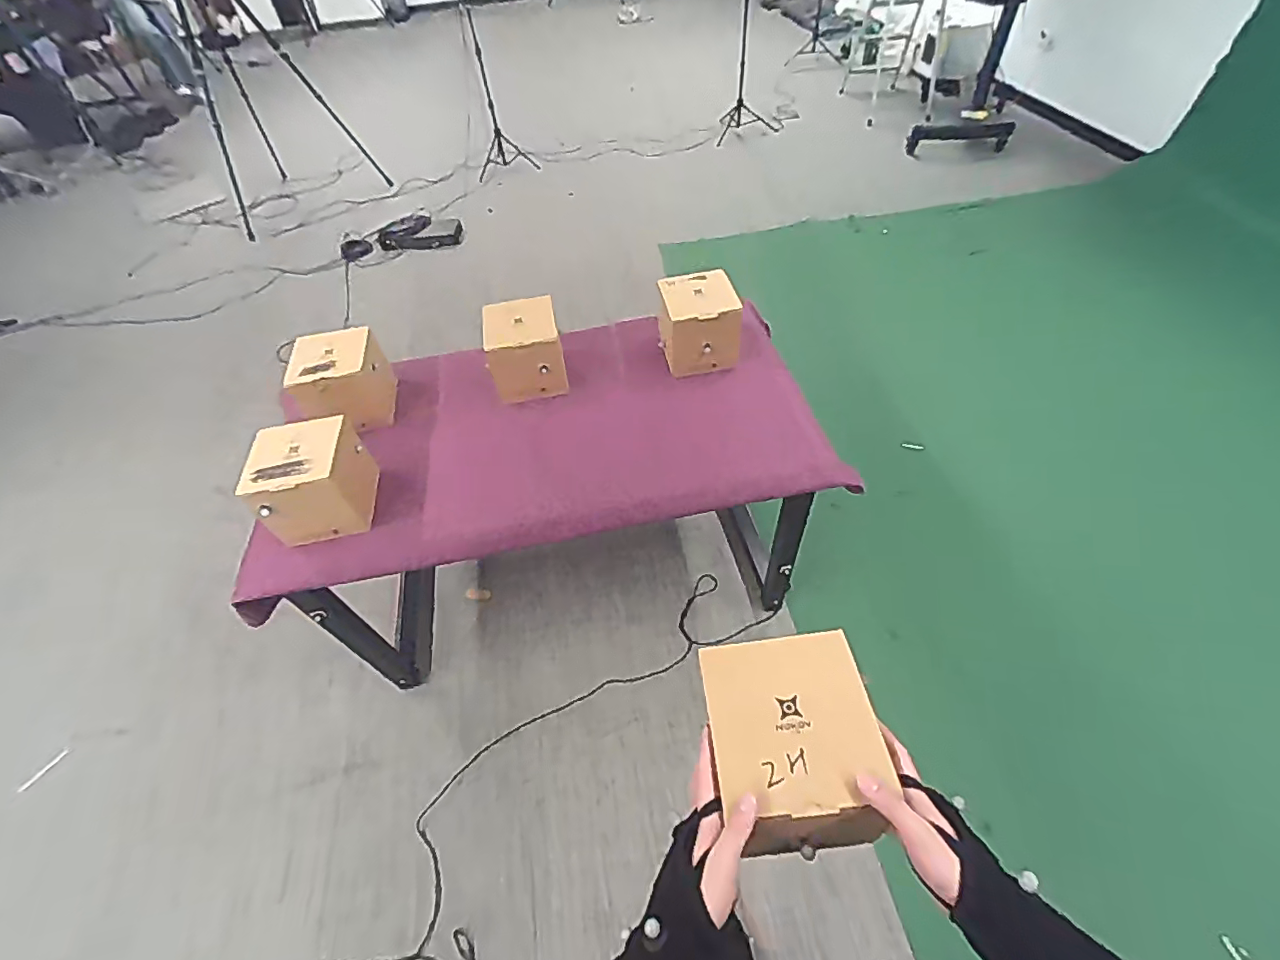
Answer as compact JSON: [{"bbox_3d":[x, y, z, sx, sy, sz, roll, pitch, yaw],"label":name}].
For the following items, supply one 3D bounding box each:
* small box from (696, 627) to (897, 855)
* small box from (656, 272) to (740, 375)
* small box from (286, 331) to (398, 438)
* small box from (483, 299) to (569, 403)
[{"bbox_3d":[0.158,0.292,0.605,0.168,0.176,0.179,-9,45,4],"label":"small box"},{"bbox_3d":[0.138,-0.373,1.314,0.168,0.176,0.179,-11,52,-3],"label":"small box"},{"bbox_3d":[-0.685,-0.216,1.268,0.168,0.176,0.179,-12,51,-5],"label":"small box"},{"bbox_3d":[-0.272,-0.302,1.299,0.168,0.176,0.179,-11,51,-4],"label":"small box"}]
